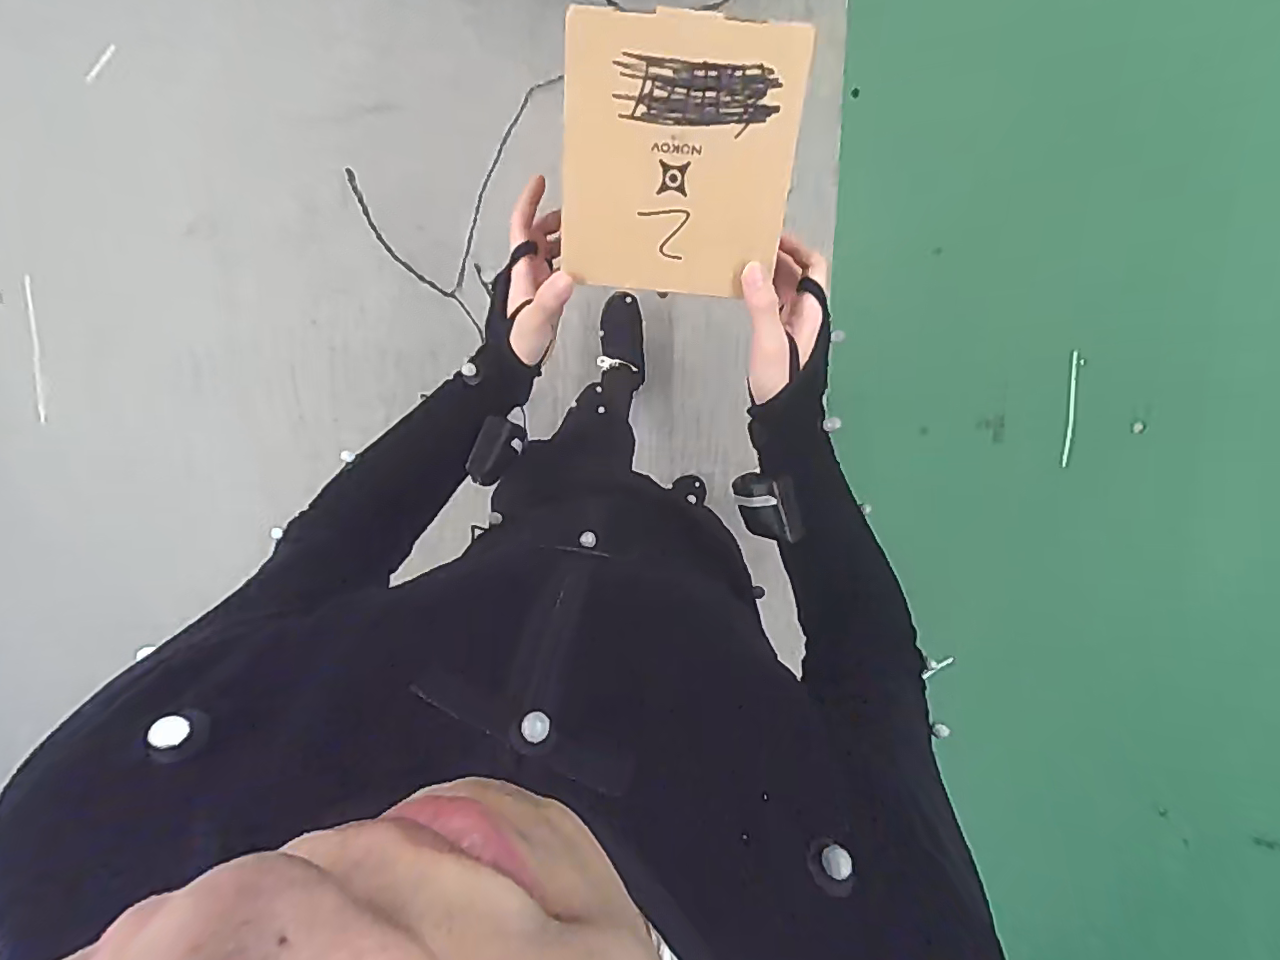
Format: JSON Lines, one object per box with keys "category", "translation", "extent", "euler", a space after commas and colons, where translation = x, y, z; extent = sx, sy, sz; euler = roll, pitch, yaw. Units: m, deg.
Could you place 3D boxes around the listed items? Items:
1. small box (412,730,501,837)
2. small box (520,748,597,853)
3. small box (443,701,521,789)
{"category": "small box", "translation": [-0.479, 0.795, 1.436], "extent": [0.168, 0.176, 0.179], "euler": [7, 96, 6]}
{"category": "small box", "translation": [-0.209, 0.828, 1.413], "extent": [0.168, 0.176, 0.179], "euler": [0, 96, 6]}
{"category": "small box", "translation": [-0.467, 0.777, 1.598], "extent": [0.179, 0.176, 0.168], "euler": [7, 96, 4]}
